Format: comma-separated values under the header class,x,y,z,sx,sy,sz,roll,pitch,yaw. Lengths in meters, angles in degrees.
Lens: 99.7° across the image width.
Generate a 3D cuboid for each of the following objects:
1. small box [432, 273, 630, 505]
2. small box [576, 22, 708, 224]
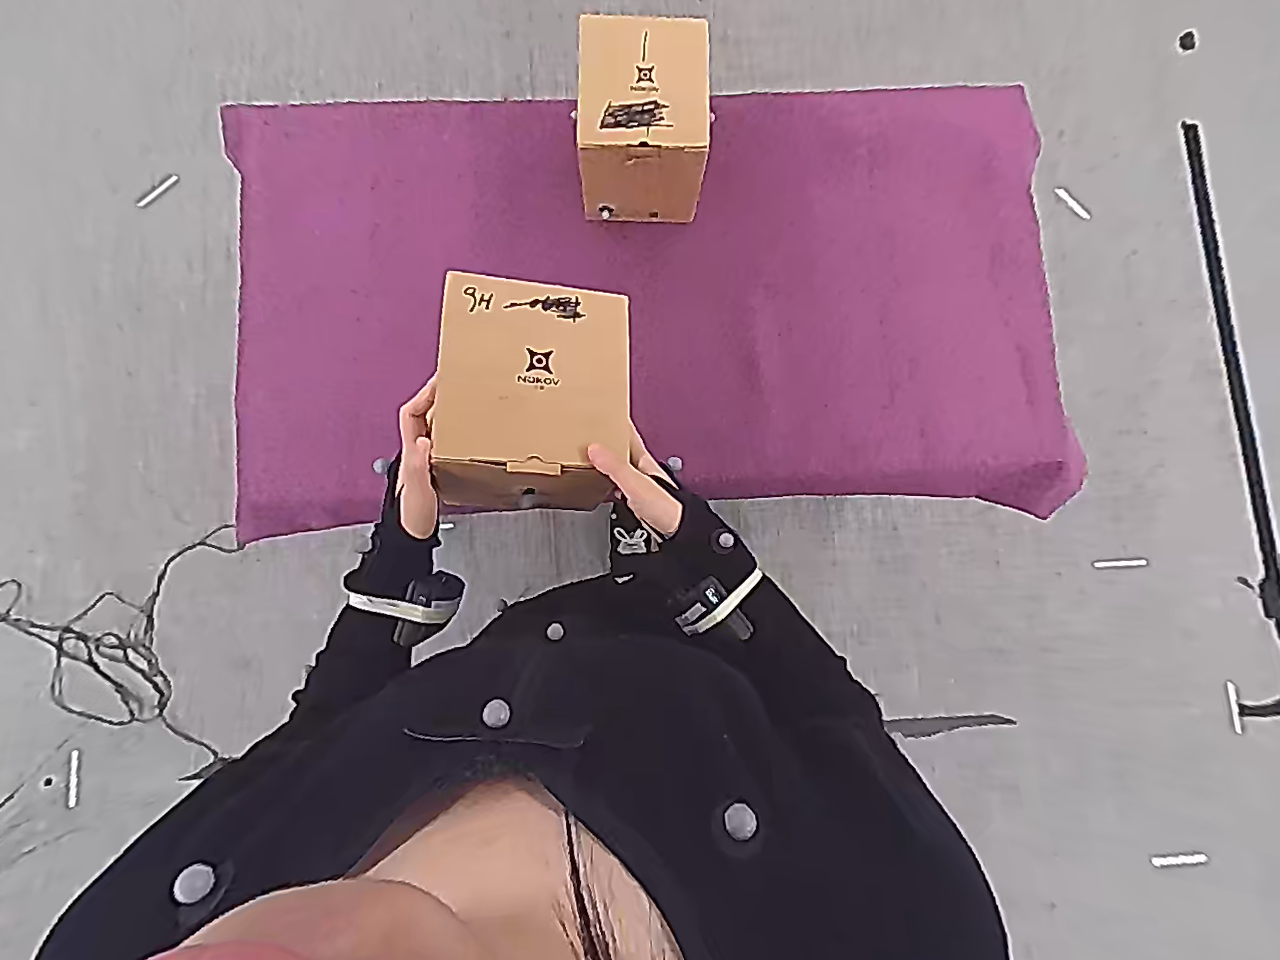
class,x,y,z,sx,sy,sz,roll,pitch,yaw
small box,-0.108,-0.075,0.548,0.168,0.176,0.179,3,75,-15
small box,0.002,-0.483,0.757,0.168,0.176,0.179,1,85,-2
